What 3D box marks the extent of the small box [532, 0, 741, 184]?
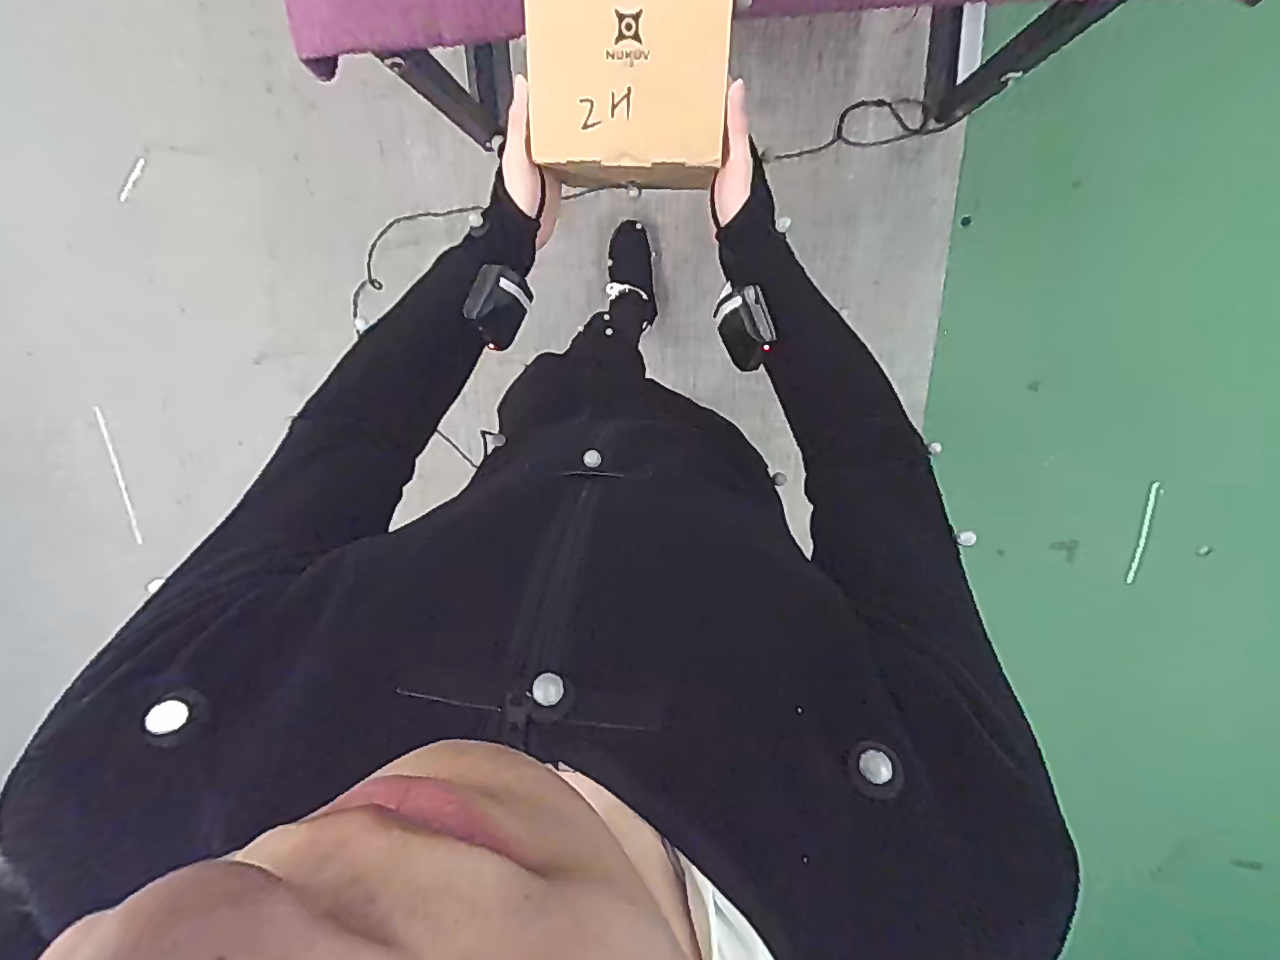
[{"bbox_3d":[0.000,-0.386,0.499,0.168,0.176,0.179,3,112,3],"label":"small box"}]
